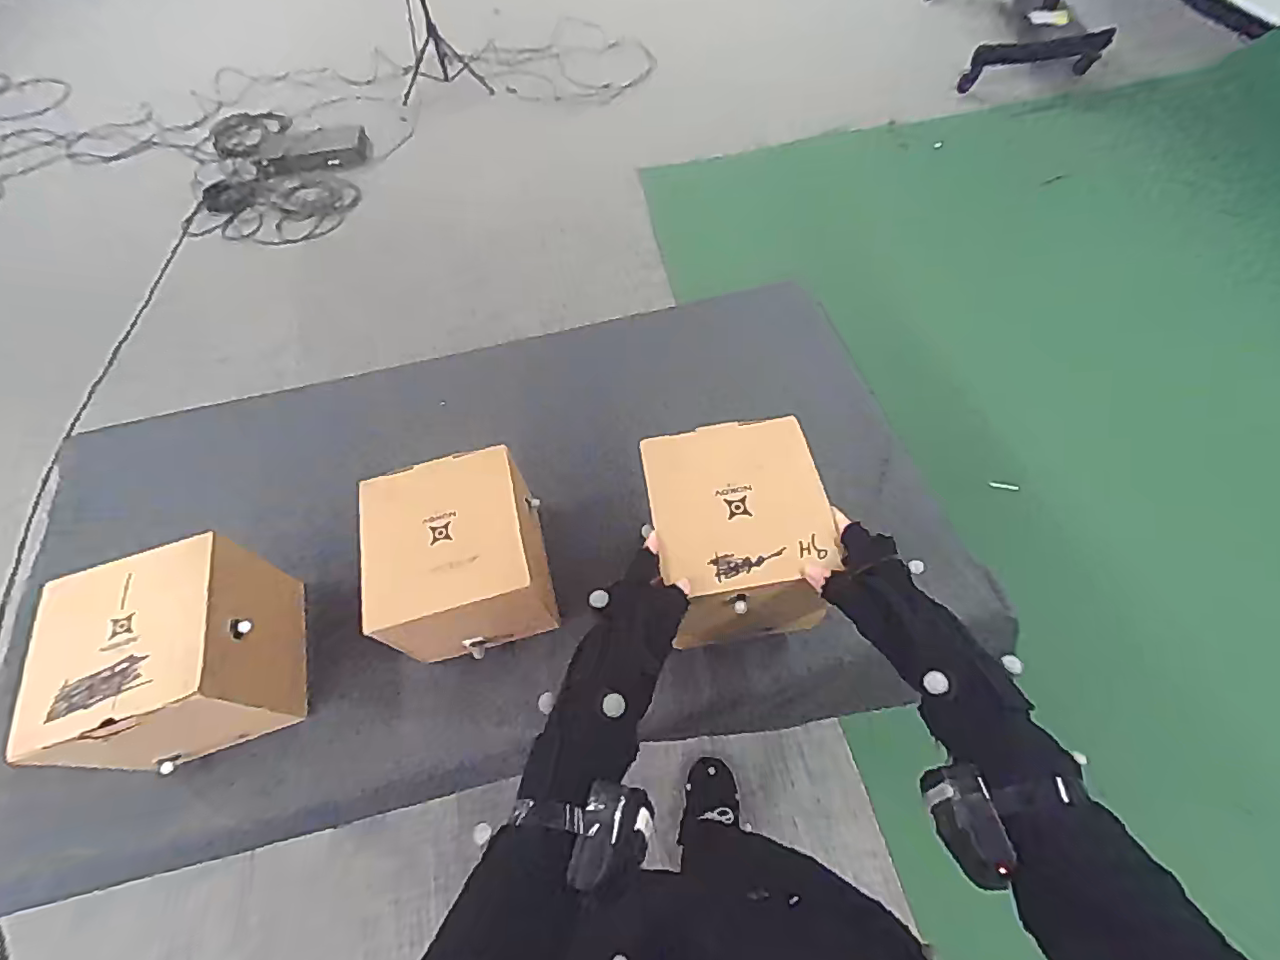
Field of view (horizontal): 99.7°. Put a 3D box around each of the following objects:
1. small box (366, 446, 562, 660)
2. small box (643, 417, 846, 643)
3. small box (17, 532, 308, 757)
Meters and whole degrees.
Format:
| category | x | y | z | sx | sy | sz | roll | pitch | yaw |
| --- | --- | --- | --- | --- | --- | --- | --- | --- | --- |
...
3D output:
| category | x | y | z | sx | sy | sz | roll | pitch | yaw |
| --- | --- | --- | --- | --- | --- | --- | --- | --- | --- |
| small box | -0.200 | 0.092 | 0.636 | 0.168 | 0.176 | 0.179 | -16 | 62 | -4 |
| small box | 0.100 | 0.060 | 0.592 | 0.168 | 0.176 | 0.179 | -10 | 58 | 1 |
| small box | -0.491 | 0.188 | 0.592 | 0.168 | 0.176 | 0.179 | -18 | 59 | -7 |
